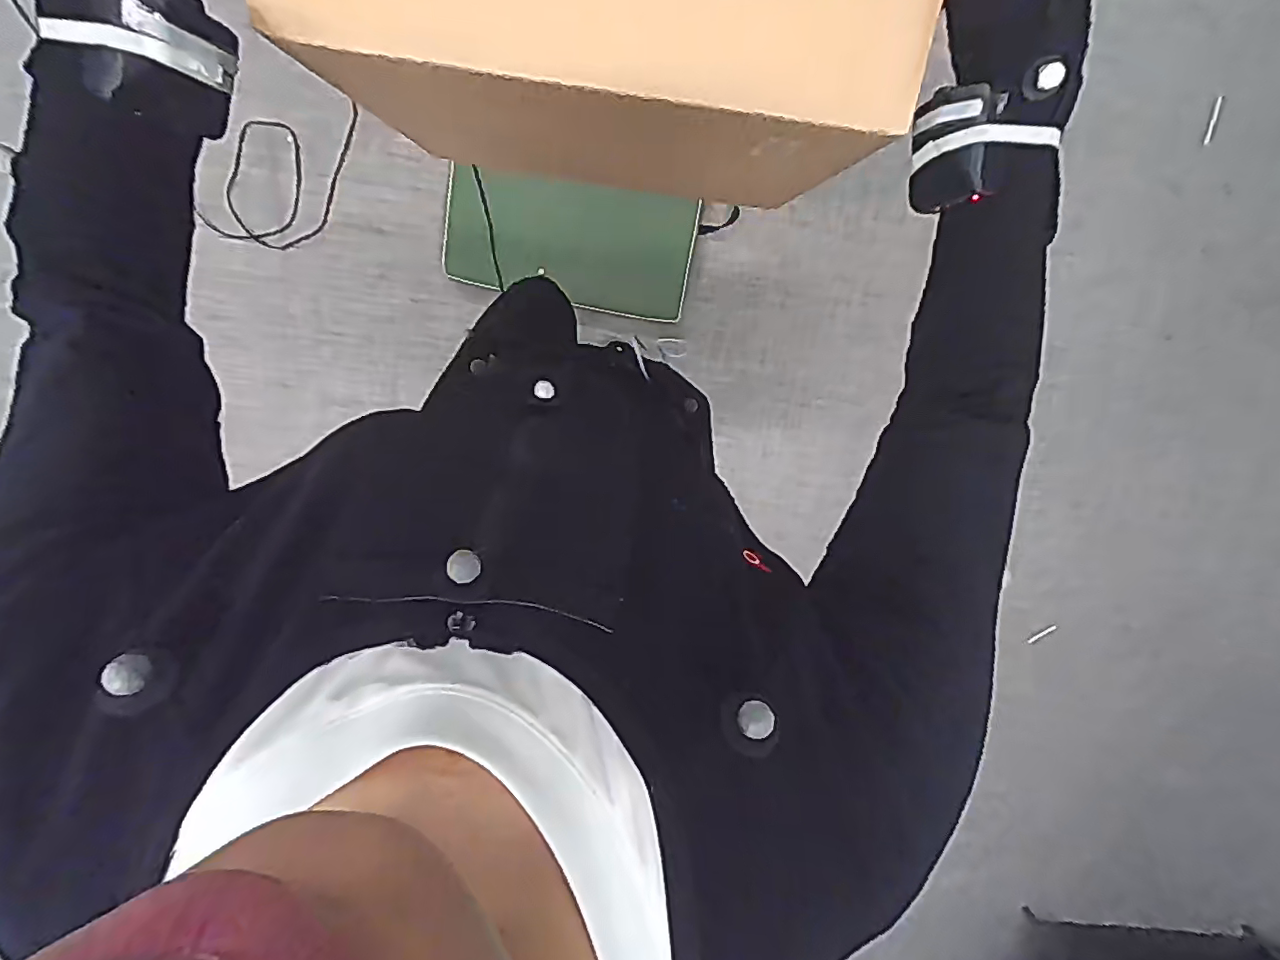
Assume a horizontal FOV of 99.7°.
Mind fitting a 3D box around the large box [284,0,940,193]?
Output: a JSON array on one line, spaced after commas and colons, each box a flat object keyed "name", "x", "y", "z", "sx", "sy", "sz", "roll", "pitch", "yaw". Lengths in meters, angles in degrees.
[{"name": "large box", "x": -0.008, "y": -0.447, "z": 0.431, "sx": 0.408, "sy": 0.320, "sz": 0.320, "roll": 6, "pitch": 109, "yaw": -5}]
